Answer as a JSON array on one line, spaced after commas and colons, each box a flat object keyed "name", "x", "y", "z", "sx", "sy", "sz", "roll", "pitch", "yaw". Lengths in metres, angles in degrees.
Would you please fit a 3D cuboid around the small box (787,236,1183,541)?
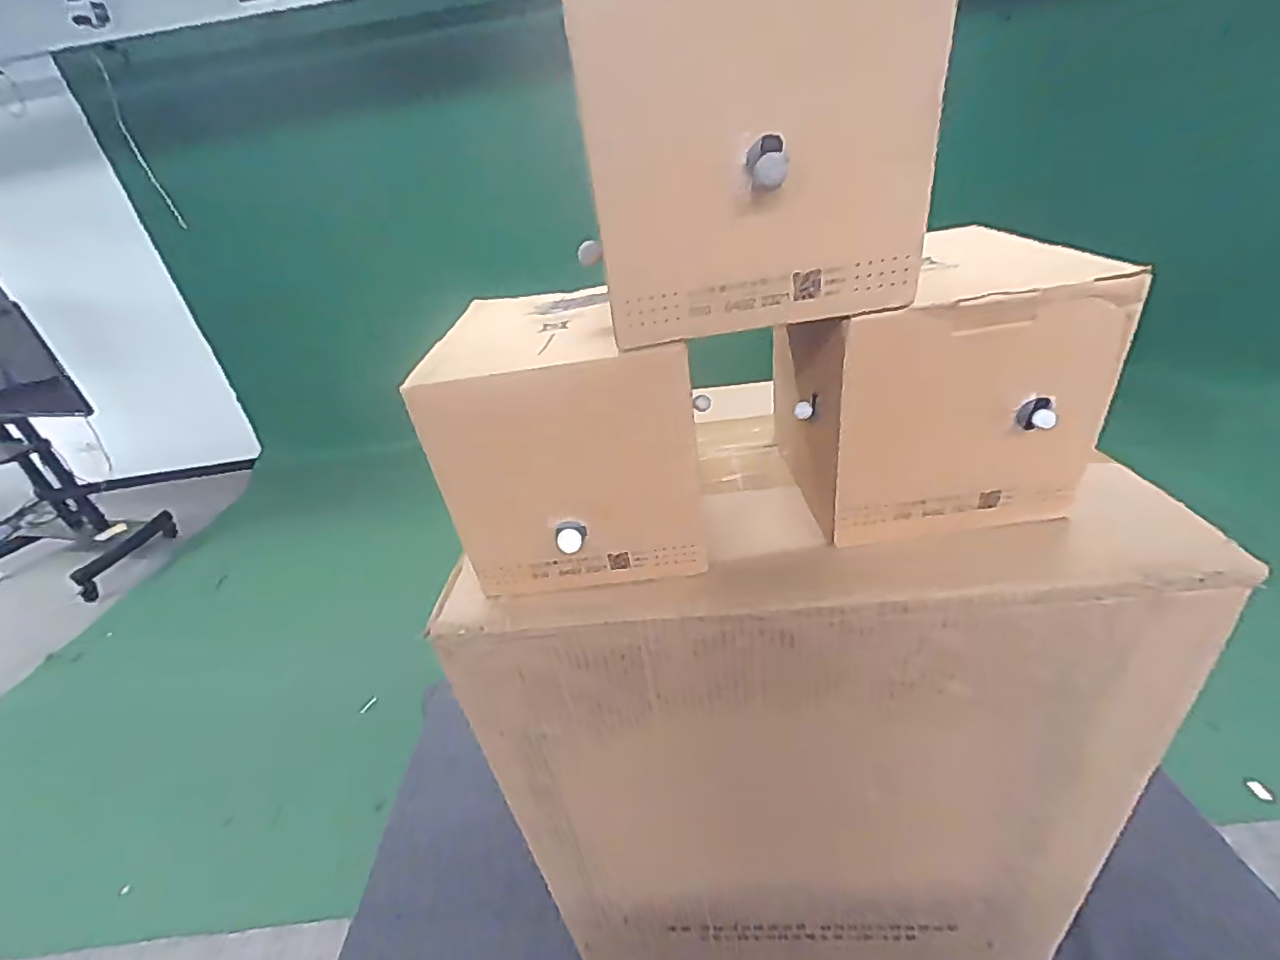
[{"name": "small box", "x": 0.214, "y": -0.068, "z": 0.401, "sx": 0.168, "sy": 0.176, "sz": 0.179, "roll": -7, "pitch": 32, "yaw": 0}]

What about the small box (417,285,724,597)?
[{"name": "small box", "x": -0.029, "y": -0.037, "z": 0.401, "sx": 0.168, "sy": 0.176, "sz": 0.179, "roll": -6, "pitch": 33, "yaw": 7}]
